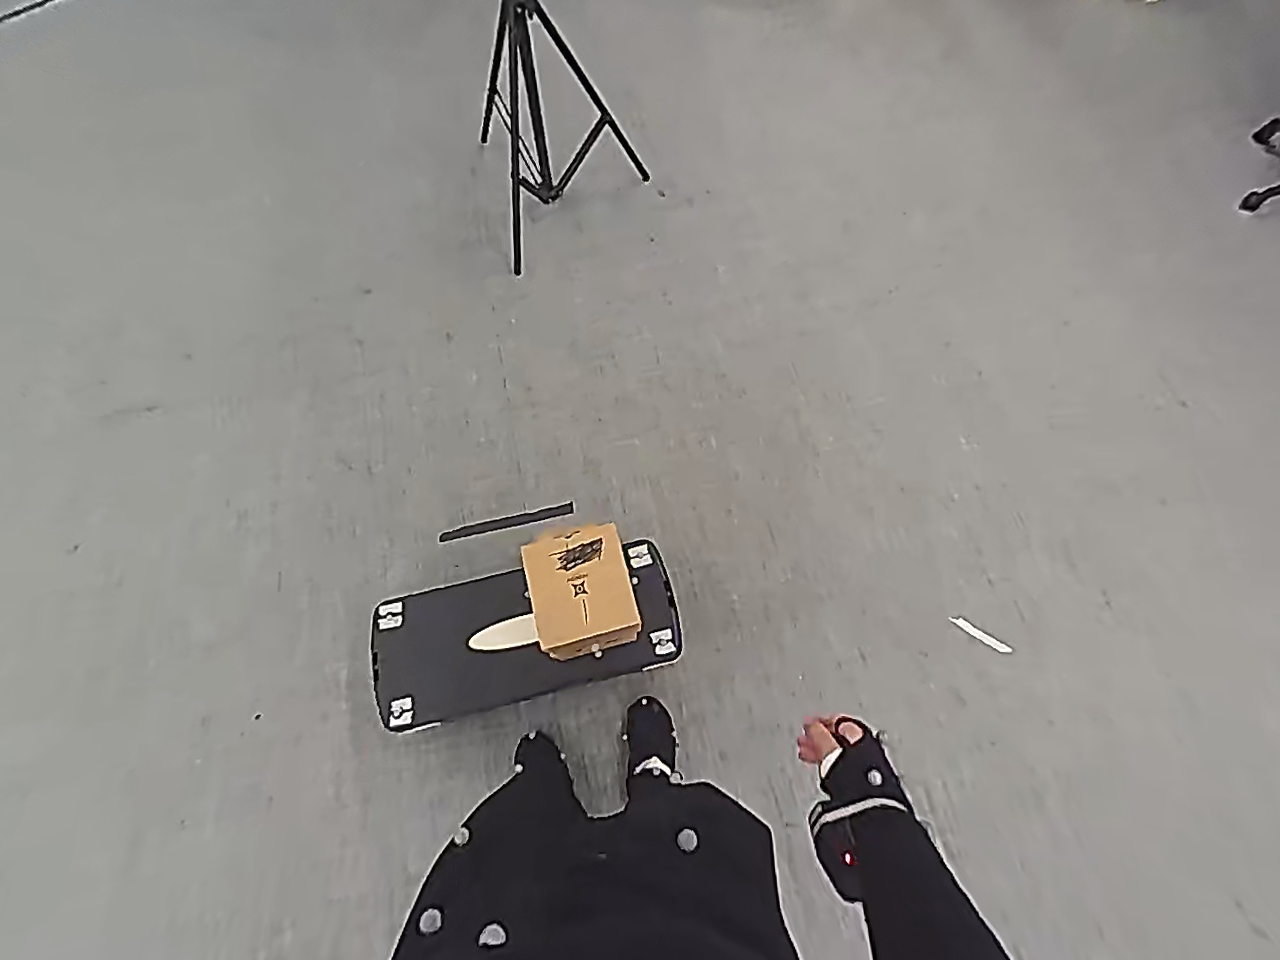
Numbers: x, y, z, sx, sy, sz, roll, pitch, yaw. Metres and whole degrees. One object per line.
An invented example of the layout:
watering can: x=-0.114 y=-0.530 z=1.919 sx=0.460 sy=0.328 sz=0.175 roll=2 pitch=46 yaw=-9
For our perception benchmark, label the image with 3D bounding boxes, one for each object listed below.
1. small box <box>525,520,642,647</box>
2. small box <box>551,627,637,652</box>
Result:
small box: x=-0.098 y=0.192 z=0.971 sx=0.168 sy=0.176 sz=0.179 roll=-15 pitch=72 yaw=-5
small box: x=-0.107 y=0.252 z=1.124 sx=0.168 sy=0.176 sz=0.179 roll=-14 pitch=72 yaw=-5
